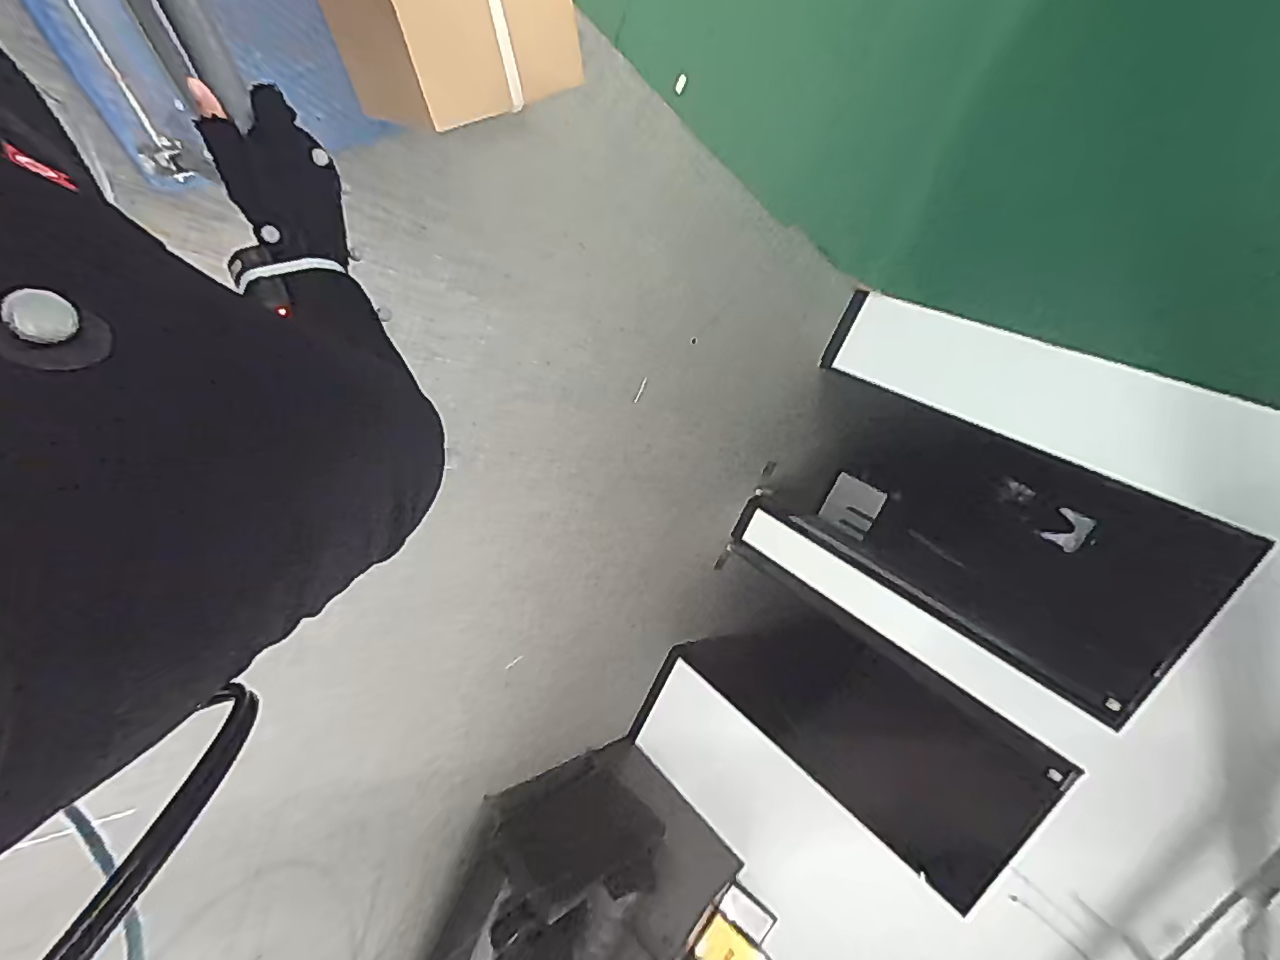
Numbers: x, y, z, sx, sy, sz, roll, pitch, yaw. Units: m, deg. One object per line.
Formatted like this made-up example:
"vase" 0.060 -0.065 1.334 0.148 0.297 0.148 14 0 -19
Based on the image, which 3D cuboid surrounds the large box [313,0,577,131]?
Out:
"large box" -0.351 -0.842 0.869 0.320 0.320 0.408 -37 140 -24
